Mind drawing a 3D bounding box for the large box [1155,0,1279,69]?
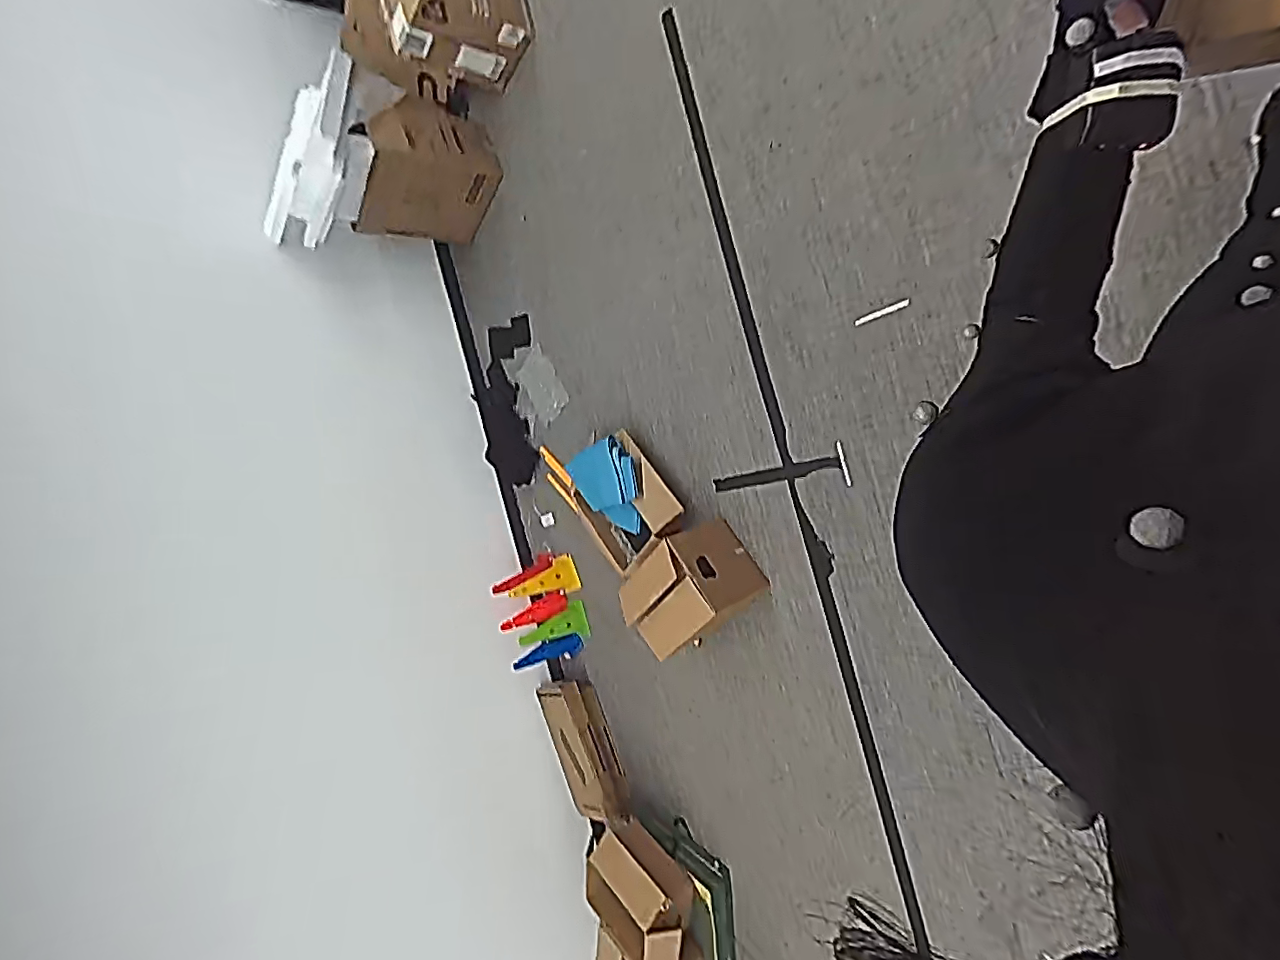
[{"bbox_3d":[0.601,-0.493,0.311,0.408,0.320,0.320,14,123,38],"label":"large box"}]
